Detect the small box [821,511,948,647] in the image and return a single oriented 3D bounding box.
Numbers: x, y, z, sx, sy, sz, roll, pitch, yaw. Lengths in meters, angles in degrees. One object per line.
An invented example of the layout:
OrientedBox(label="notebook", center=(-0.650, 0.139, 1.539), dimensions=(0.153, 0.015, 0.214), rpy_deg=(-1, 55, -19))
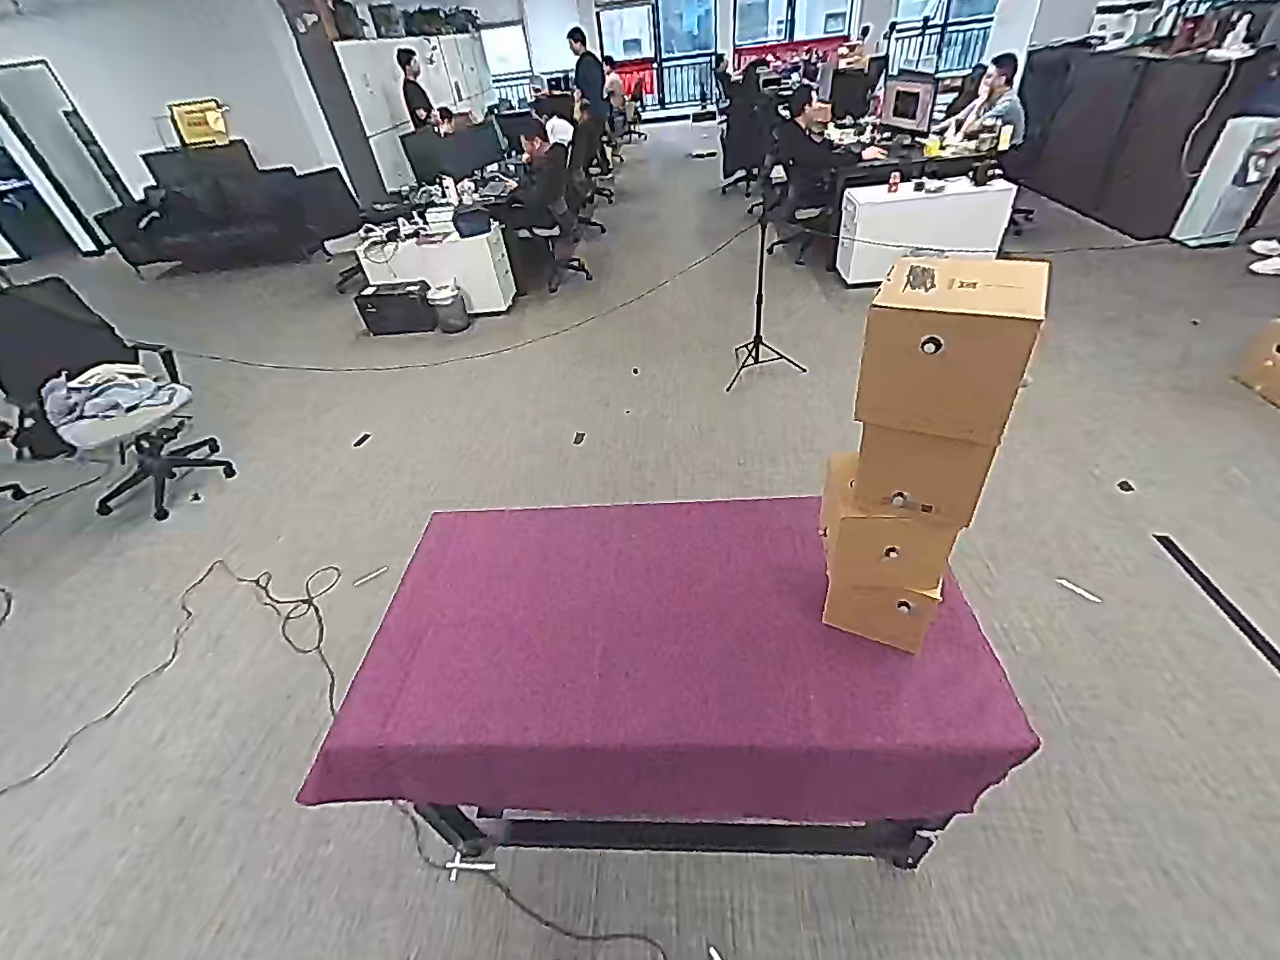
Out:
OrientedBox(label="small box", center=(0.460, 0.191, 1.030), dimensions=(0.179, 0.176, 0.168), rpy_deg=(15, 45, 25))

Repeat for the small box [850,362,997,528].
OrientedBox(label="small box", center=(0.422, -0.056, 0.817), dimensions=(0.168, 0.176, 0.179), rpy_deg=(11, 45, 24))
